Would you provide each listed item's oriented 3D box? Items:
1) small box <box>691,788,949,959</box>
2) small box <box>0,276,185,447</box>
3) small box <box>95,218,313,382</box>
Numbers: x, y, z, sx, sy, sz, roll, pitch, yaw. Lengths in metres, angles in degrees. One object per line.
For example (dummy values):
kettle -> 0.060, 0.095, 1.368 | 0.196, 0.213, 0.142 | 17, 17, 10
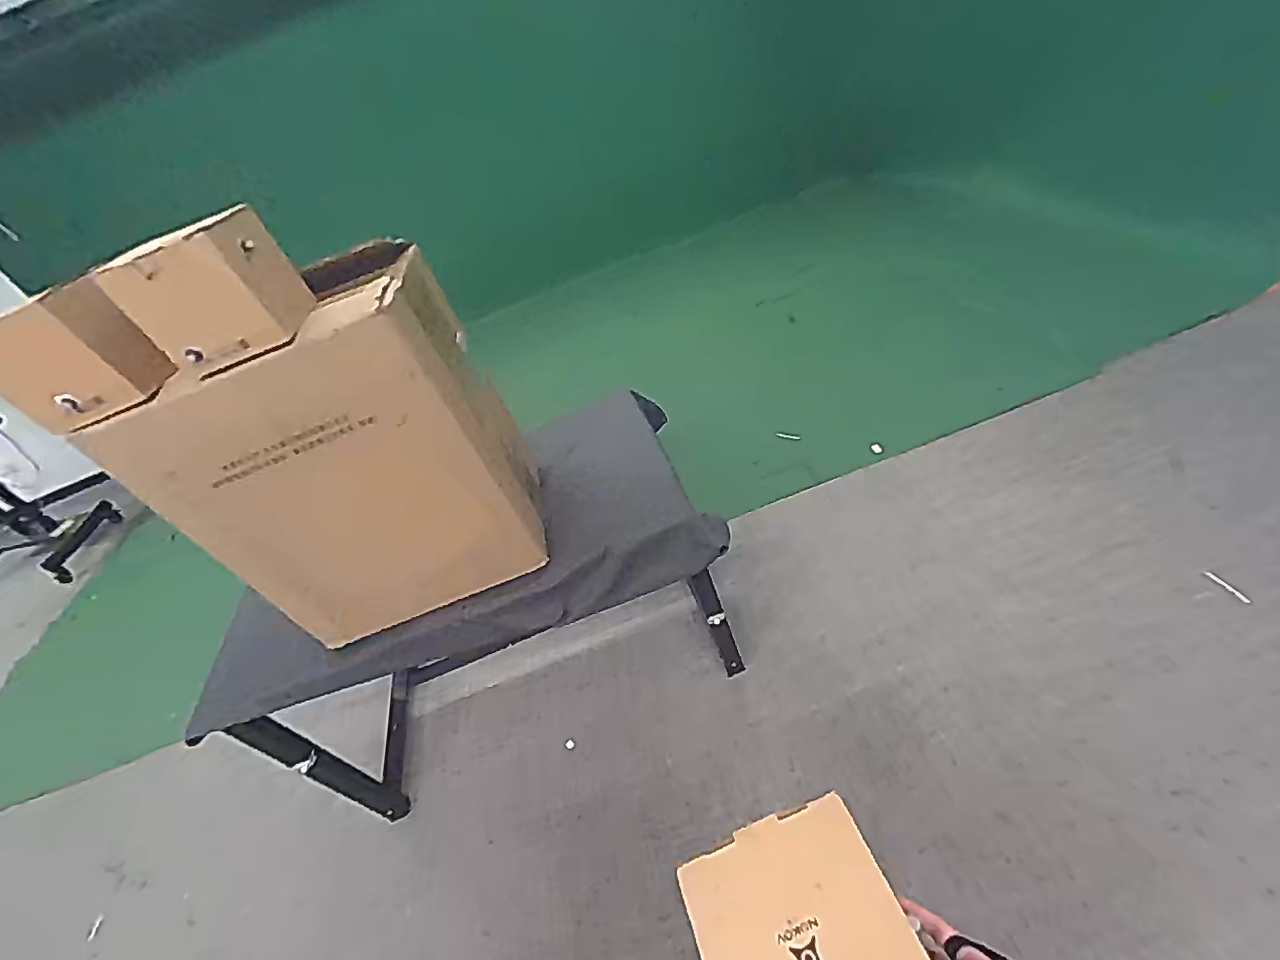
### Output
small box -> 0.167, 0.419, 0.474 | 0.168, 0.176, 0.179 | -26, 38, -1
small box -> -0.856, -0.181, 0.836 | 0.168, 0.176, 0.179 | -23, 40, 4
small box -> -0.643, -0.271, 0.829 | 0.168, 0.176, 0.179 | -22, 38, 0
